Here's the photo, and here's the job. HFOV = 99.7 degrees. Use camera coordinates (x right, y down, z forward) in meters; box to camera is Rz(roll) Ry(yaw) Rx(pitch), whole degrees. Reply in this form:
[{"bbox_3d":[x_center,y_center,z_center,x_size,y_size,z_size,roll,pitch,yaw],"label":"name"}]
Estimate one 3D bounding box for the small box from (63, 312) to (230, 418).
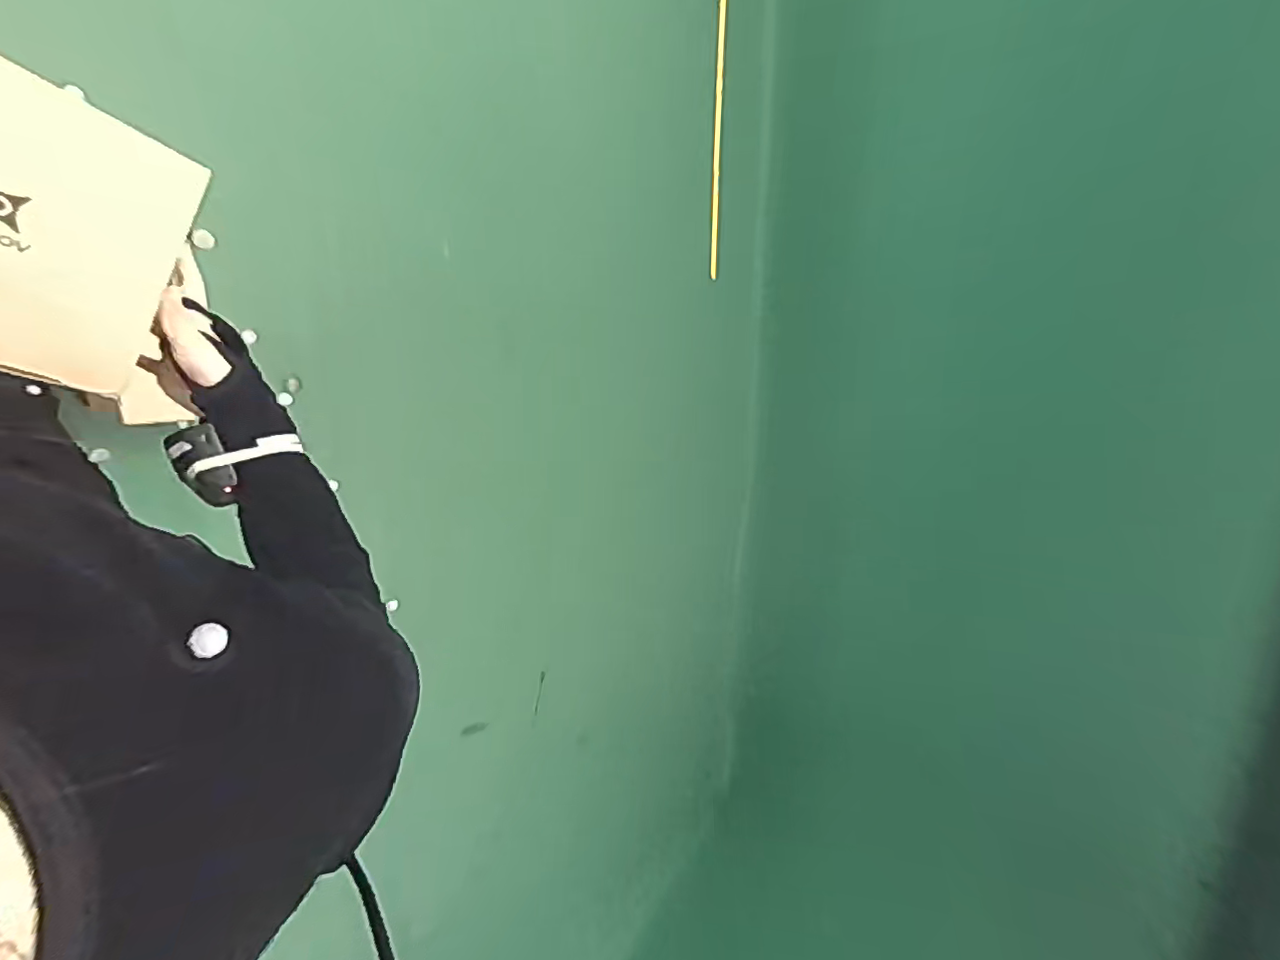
[{"bbox_3d":[-0.862,-0.204,0.949,0.179,0.176,0.168,-16,111,-49],"label":"small box"}]
